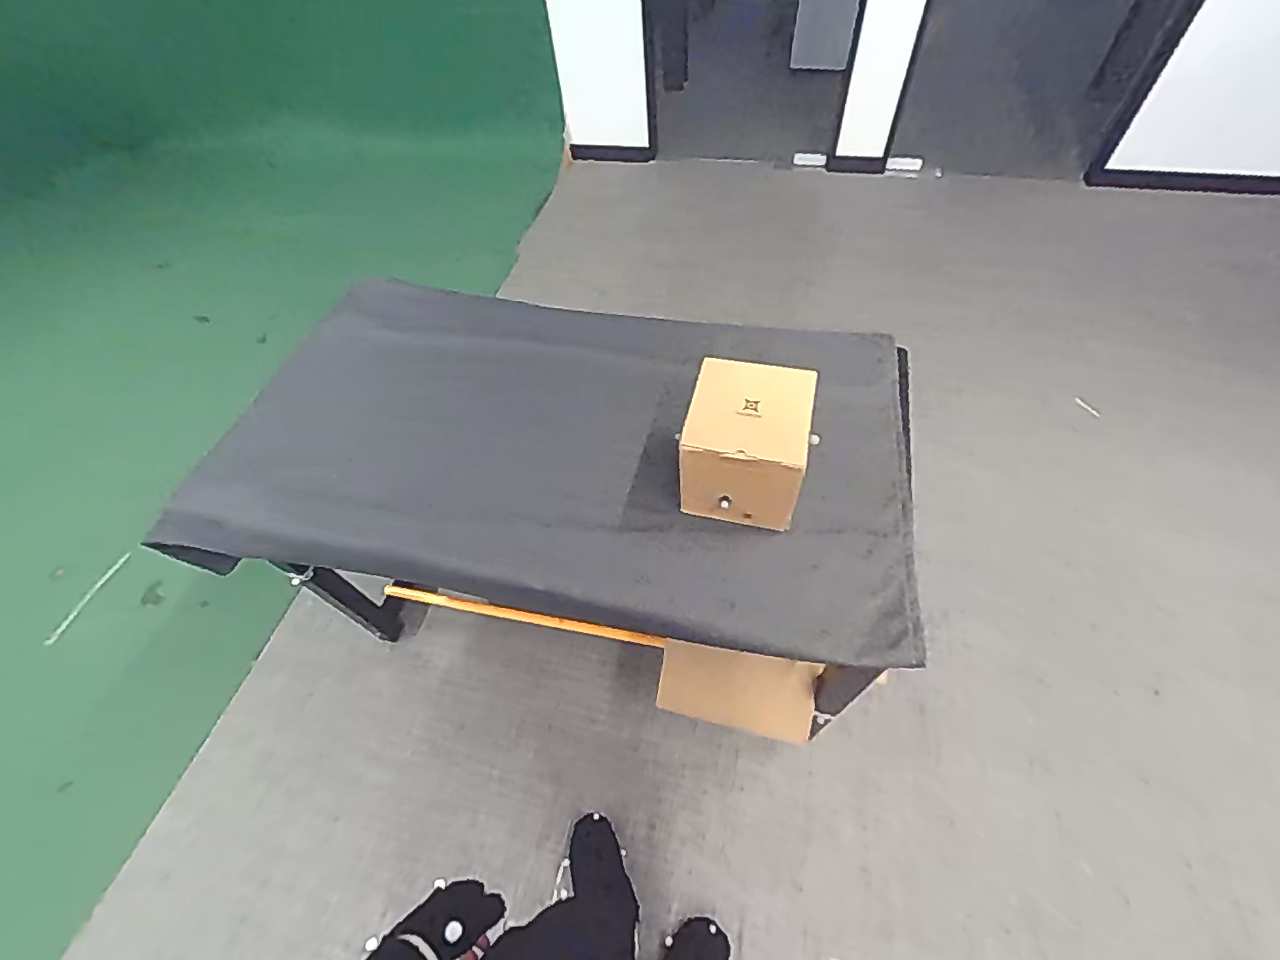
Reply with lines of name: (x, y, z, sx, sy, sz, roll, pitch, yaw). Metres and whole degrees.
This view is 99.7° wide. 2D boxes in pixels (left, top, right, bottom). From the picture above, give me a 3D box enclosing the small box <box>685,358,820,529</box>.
small box: (0.162, -0.052, 0.808, 0.168, 0.176, 0.179, 10, 57, 12)
